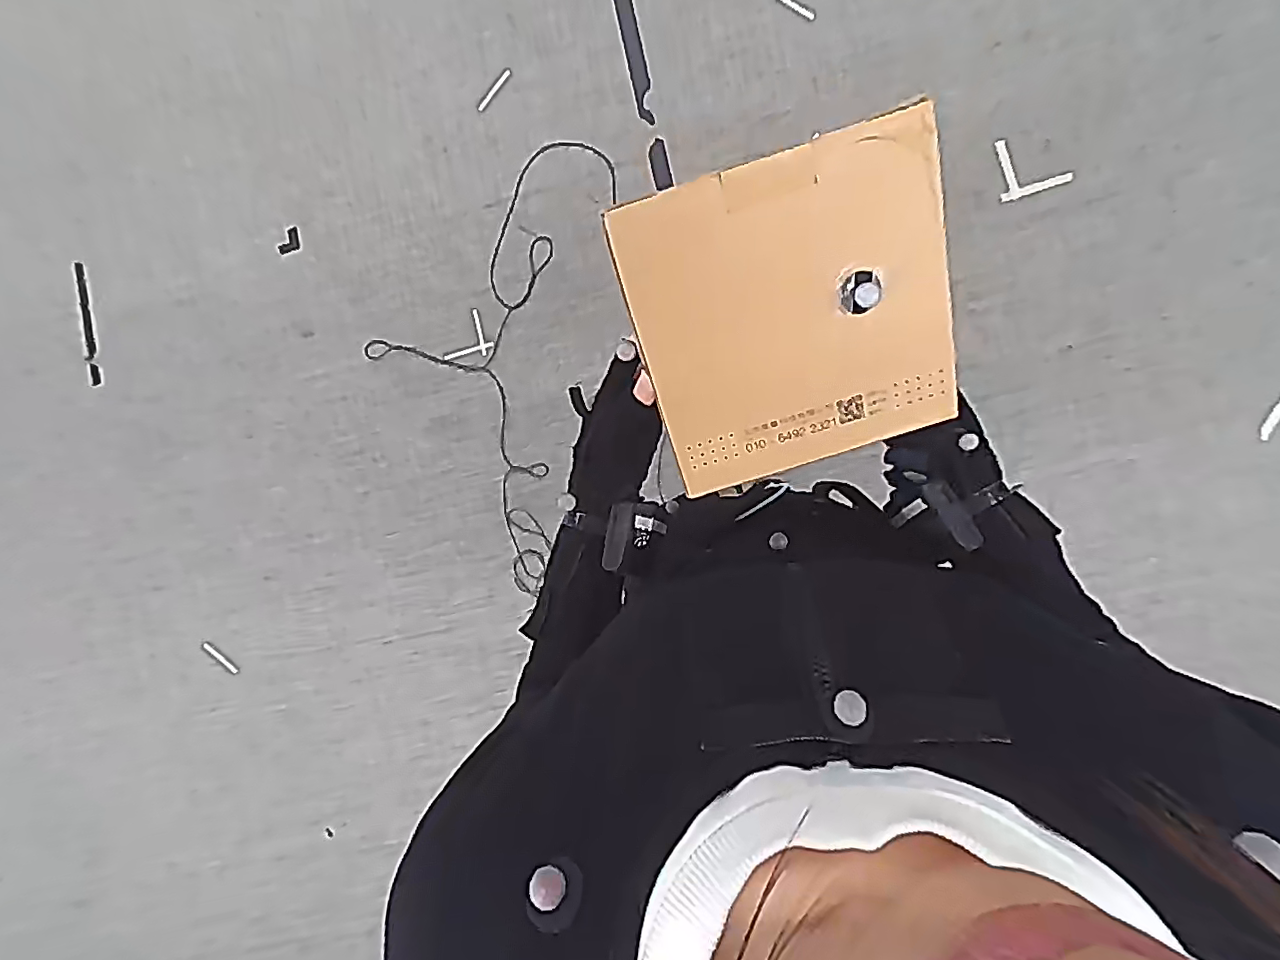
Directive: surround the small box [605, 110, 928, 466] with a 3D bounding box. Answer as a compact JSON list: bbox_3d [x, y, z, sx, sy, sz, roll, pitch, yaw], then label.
[{"bbox_3d":[0.081,-0.124,0.384,0.168,0.179,0.176,-16,114,5],"label":"small box"}]
